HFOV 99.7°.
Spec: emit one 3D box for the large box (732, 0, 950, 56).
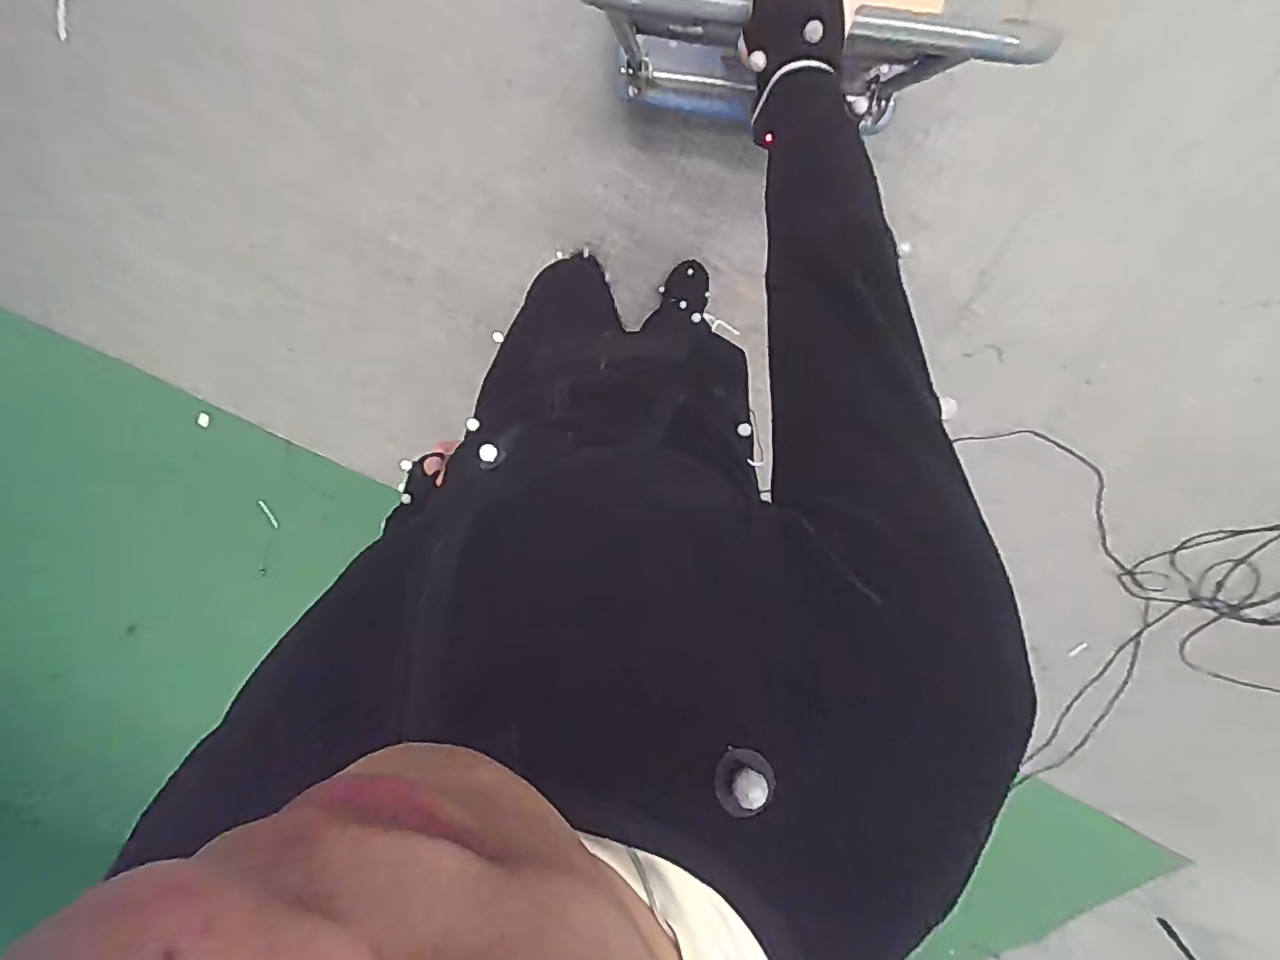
[{"bbox_3d":[0.328,-0.944,0.835,0.320,0.320,0.408,7,117,1],"label":"large box"}]
